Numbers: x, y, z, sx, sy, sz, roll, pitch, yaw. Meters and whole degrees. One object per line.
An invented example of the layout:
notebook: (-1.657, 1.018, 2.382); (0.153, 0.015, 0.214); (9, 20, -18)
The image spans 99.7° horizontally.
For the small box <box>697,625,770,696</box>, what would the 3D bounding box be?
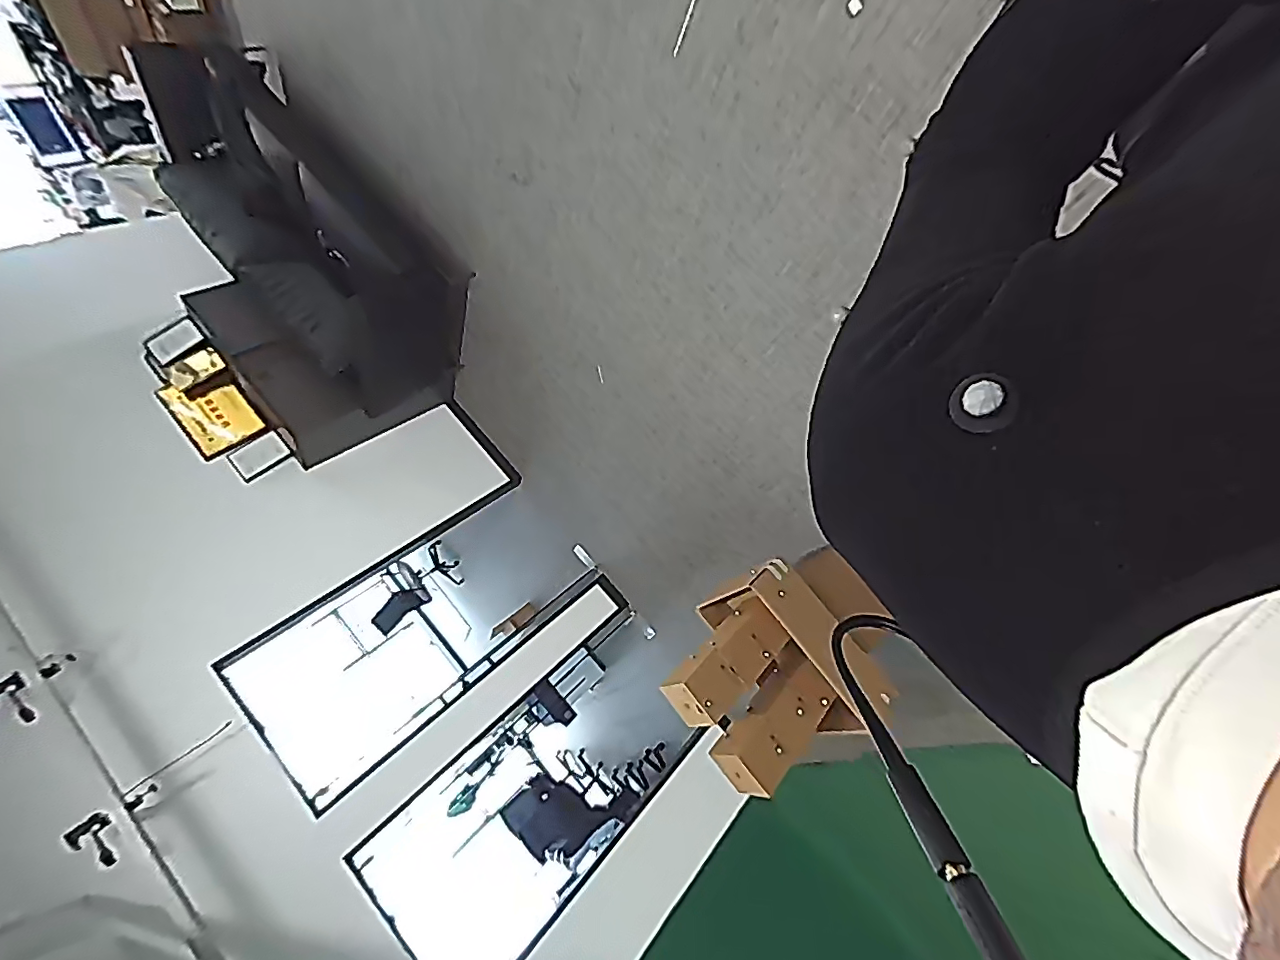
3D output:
small box: (0.319, 0.619, 1.856); (0.168, 0.176, 0.179); (53, 146, 3)

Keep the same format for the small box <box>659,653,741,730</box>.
small box: (0.199, 0.691, 1.770); (0.168, 0.176, 0.179); (52, 146, 3)

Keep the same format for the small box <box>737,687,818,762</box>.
small box: (0.473, 0.835, 1.851); (0.168, 0.176, 0.179); (51, 146, 5)

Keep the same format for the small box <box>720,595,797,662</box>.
small box: (0.431, 0.541, 1.948); (0.168, 0.176, 0.179); (52, 145, 4)

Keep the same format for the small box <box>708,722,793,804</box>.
small box: (0.362, 0.912, 1.760); (0.168, 0.176, 0.179); (51, 146, 4)
